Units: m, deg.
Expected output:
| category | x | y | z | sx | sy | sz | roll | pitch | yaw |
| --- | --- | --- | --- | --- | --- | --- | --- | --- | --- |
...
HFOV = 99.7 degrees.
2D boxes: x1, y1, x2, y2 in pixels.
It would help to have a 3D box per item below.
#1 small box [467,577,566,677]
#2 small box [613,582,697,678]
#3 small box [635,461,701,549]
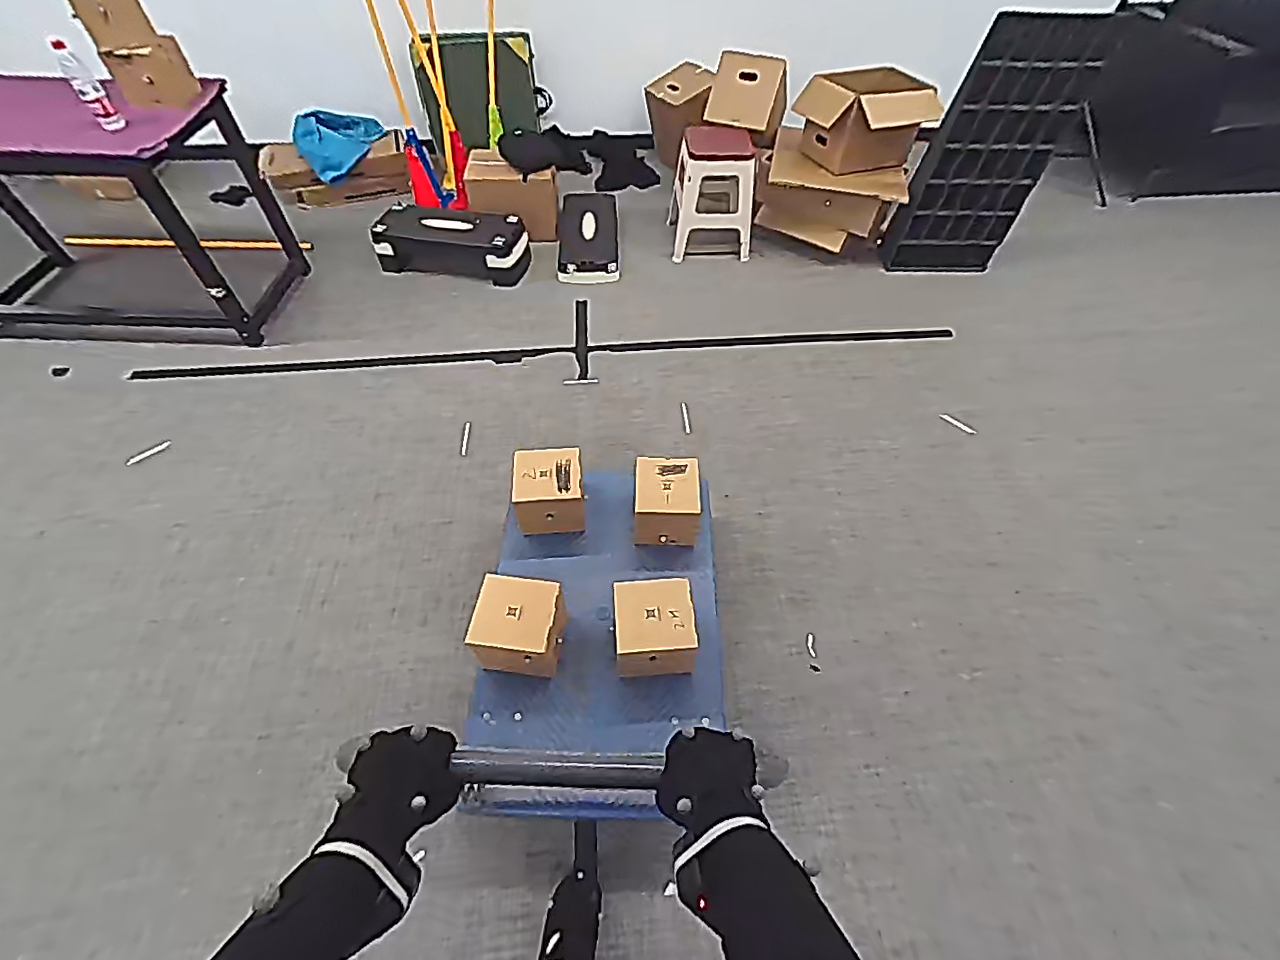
| category | x | y | z | sx | sy | sz | roll | pitch | yaw |
| --- | --- | --- | --- | --- | --- | --- | --- | --- | --- |
| small box | -0.276 | 0.344 | 1.252 | 0.179 | 0.176 | 0.168 | 7 | 53 | 2 |
| small box | 0.030 | 0.350 | 1.253 | 0.179 | 0.176 | 0.168 | -3 | 54 | -3 |
| small box | 0.071 | 0.068 | 1.461 | 0.168 | 0.176 | 0.179 | 2 | 55 | 0 |
